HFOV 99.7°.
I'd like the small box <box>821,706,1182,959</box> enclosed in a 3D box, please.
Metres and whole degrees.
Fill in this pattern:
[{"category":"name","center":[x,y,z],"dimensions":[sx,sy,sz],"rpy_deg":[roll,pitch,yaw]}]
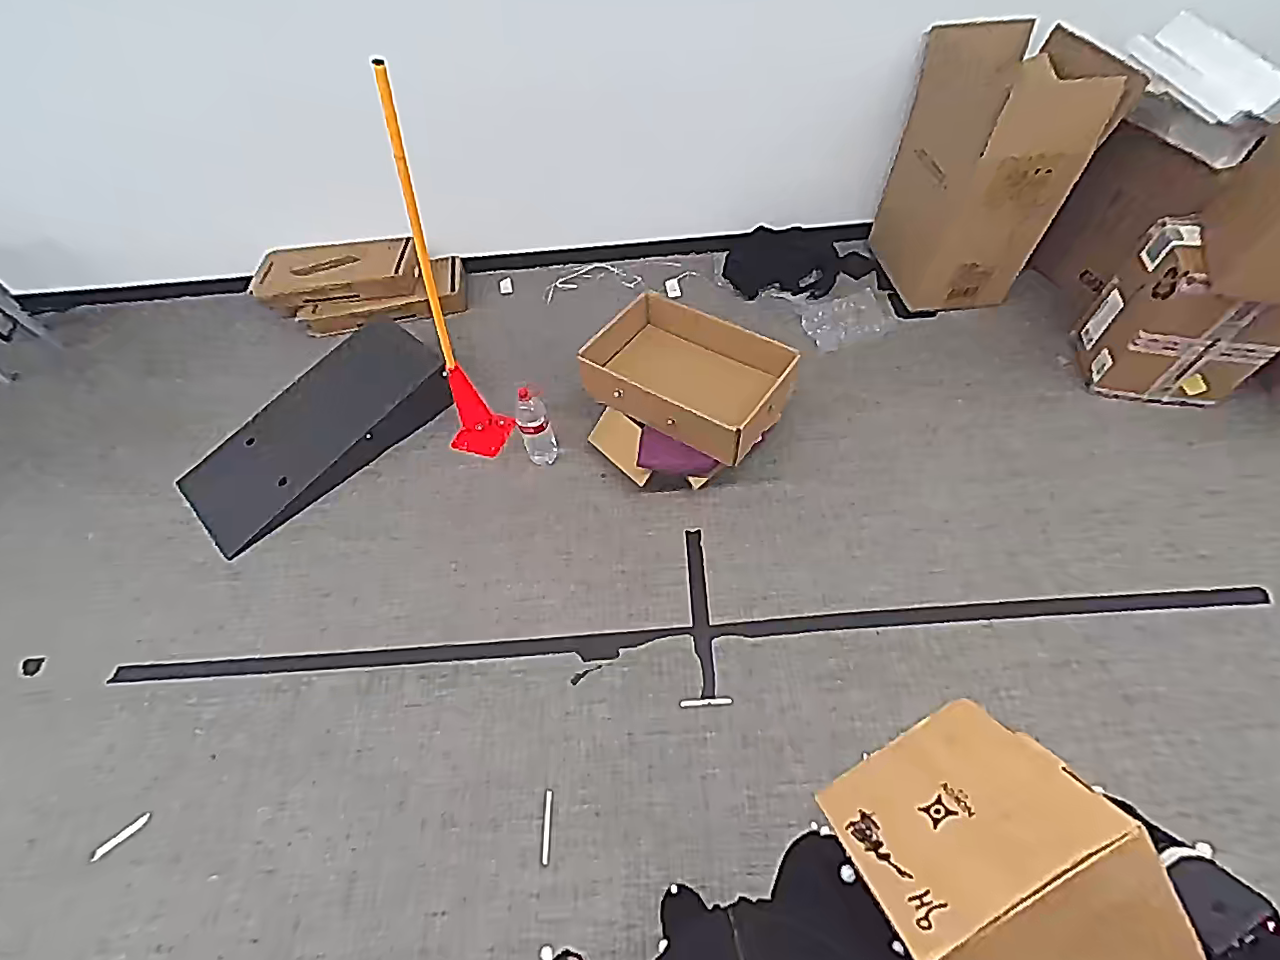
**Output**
[{"category":"small box","center":[0.295,0.340,0.457],"dimensions":[0.179,0.168,0.176],"rpy_deg":[-31,98,-2]}]
